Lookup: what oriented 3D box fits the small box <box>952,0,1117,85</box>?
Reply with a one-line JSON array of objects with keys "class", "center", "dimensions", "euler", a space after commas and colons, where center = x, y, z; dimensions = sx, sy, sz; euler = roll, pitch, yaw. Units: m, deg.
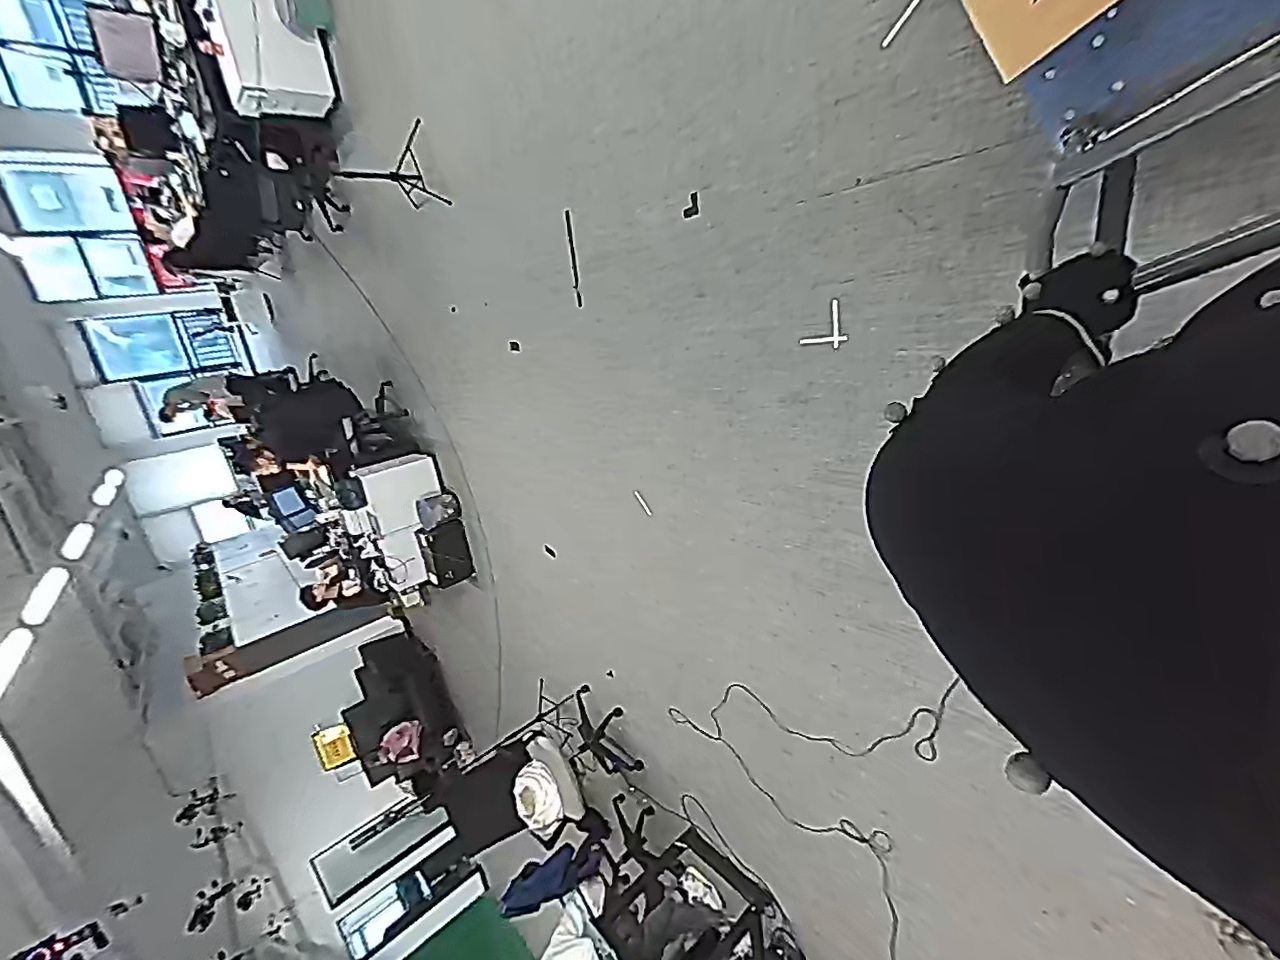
[{"class": "small box", "center": [0.632, -0.769, 0.846], "dimensions": [0.168, 0.176, 0.179], "euler": [53, 143, -9]}]
